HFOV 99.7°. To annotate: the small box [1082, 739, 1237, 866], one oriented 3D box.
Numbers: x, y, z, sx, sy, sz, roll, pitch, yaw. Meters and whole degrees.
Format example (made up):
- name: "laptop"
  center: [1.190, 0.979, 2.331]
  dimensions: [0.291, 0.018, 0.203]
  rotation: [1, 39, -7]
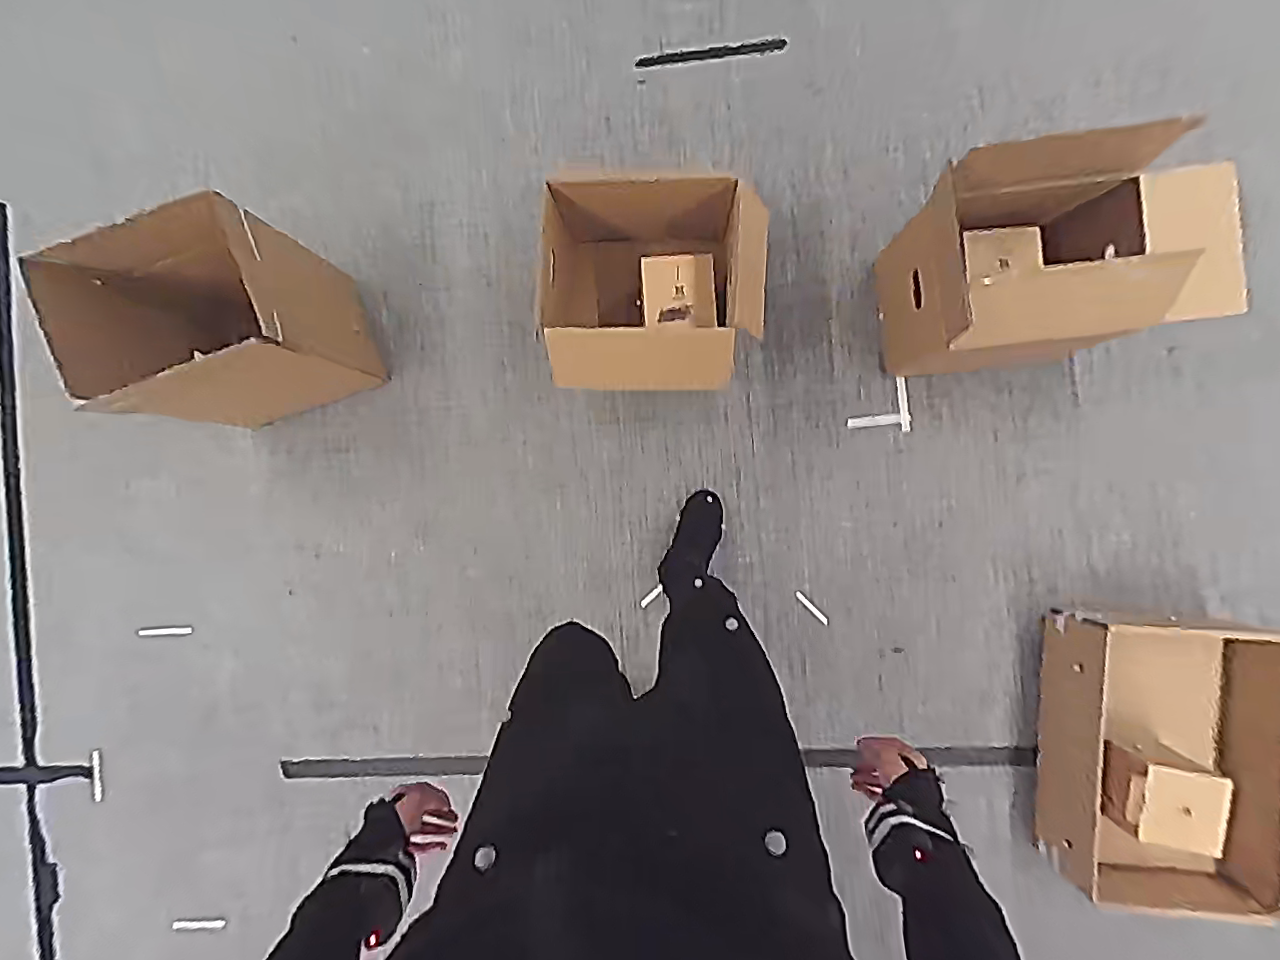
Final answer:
- name: "small box"
  center: [1.140, 0.704, 1.202]
  dimensions: [0.179, 0.176, 0.168]
  rotation: [11, 90, 4]
